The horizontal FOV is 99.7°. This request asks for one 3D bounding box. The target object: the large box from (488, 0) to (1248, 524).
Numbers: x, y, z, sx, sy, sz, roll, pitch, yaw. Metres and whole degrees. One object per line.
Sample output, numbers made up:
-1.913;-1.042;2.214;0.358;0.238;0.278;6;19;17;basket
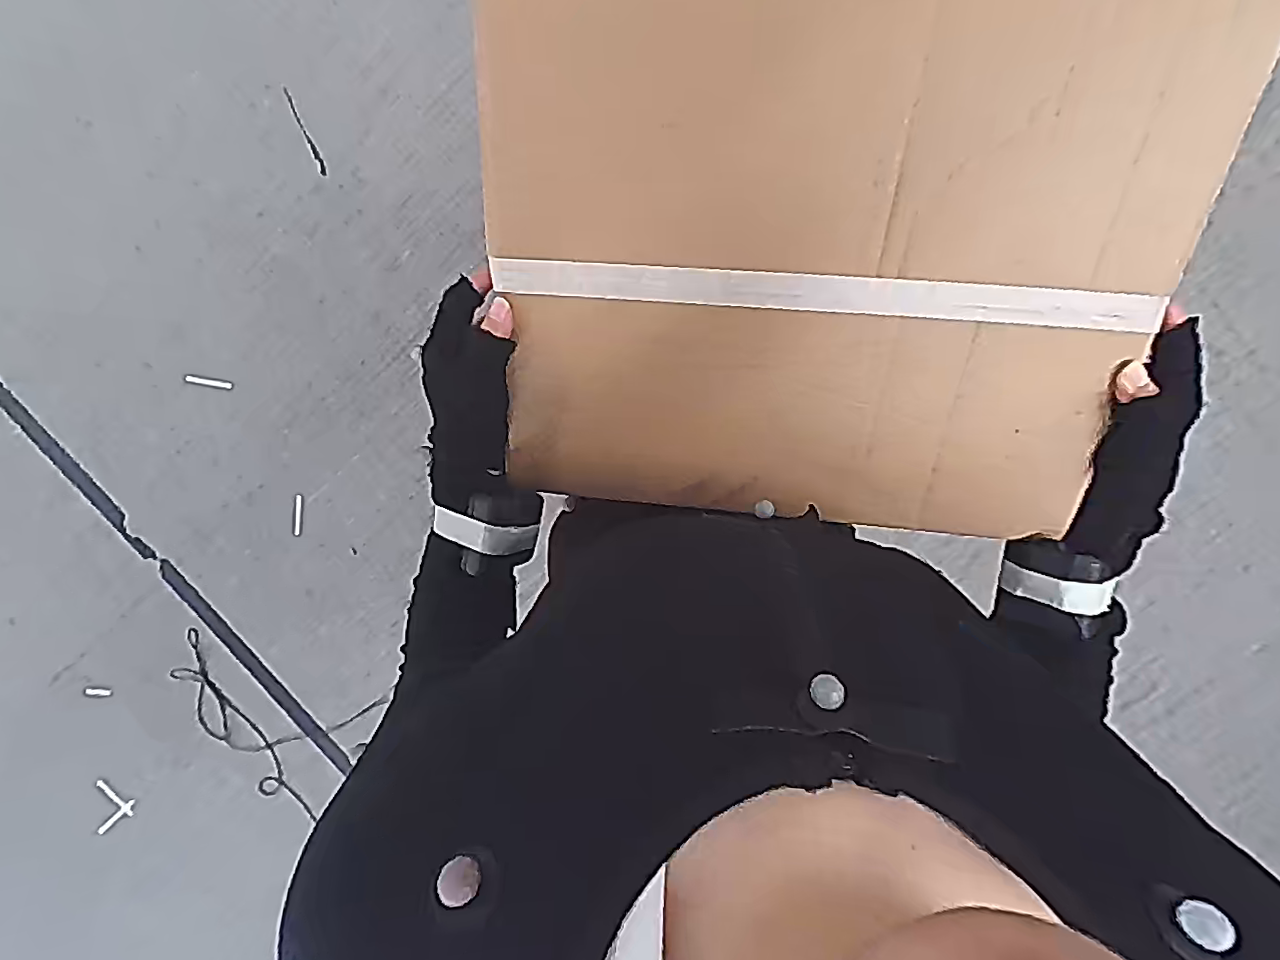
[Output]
0.119;-0.181;0.484;0.408;0.320;0.320;5;117;4;large box
